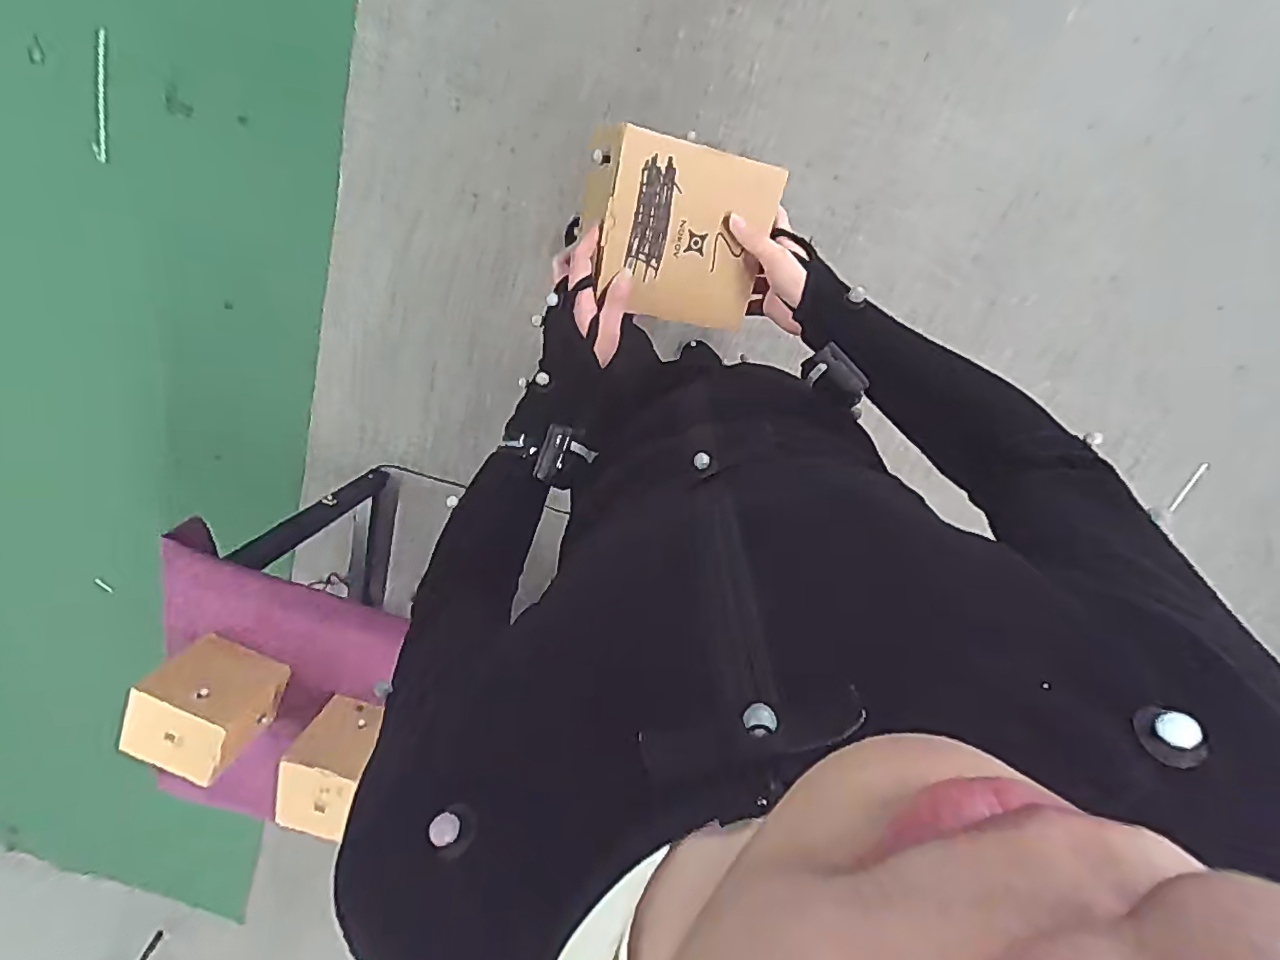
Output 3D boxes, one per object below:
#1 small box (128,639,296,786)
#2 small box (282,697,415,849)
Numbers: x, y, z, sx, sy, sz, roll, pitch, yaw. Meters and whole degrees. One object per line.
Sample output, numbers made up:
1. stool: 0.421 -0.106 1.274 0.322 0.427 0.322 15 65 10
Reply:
1. small box: -0.819 0.438 1.047 0.179 0.176 0.168 28 110 -5
2. small box: -0.568 0.571 1.068 0.168 0.176 0.179 18 110 -1
